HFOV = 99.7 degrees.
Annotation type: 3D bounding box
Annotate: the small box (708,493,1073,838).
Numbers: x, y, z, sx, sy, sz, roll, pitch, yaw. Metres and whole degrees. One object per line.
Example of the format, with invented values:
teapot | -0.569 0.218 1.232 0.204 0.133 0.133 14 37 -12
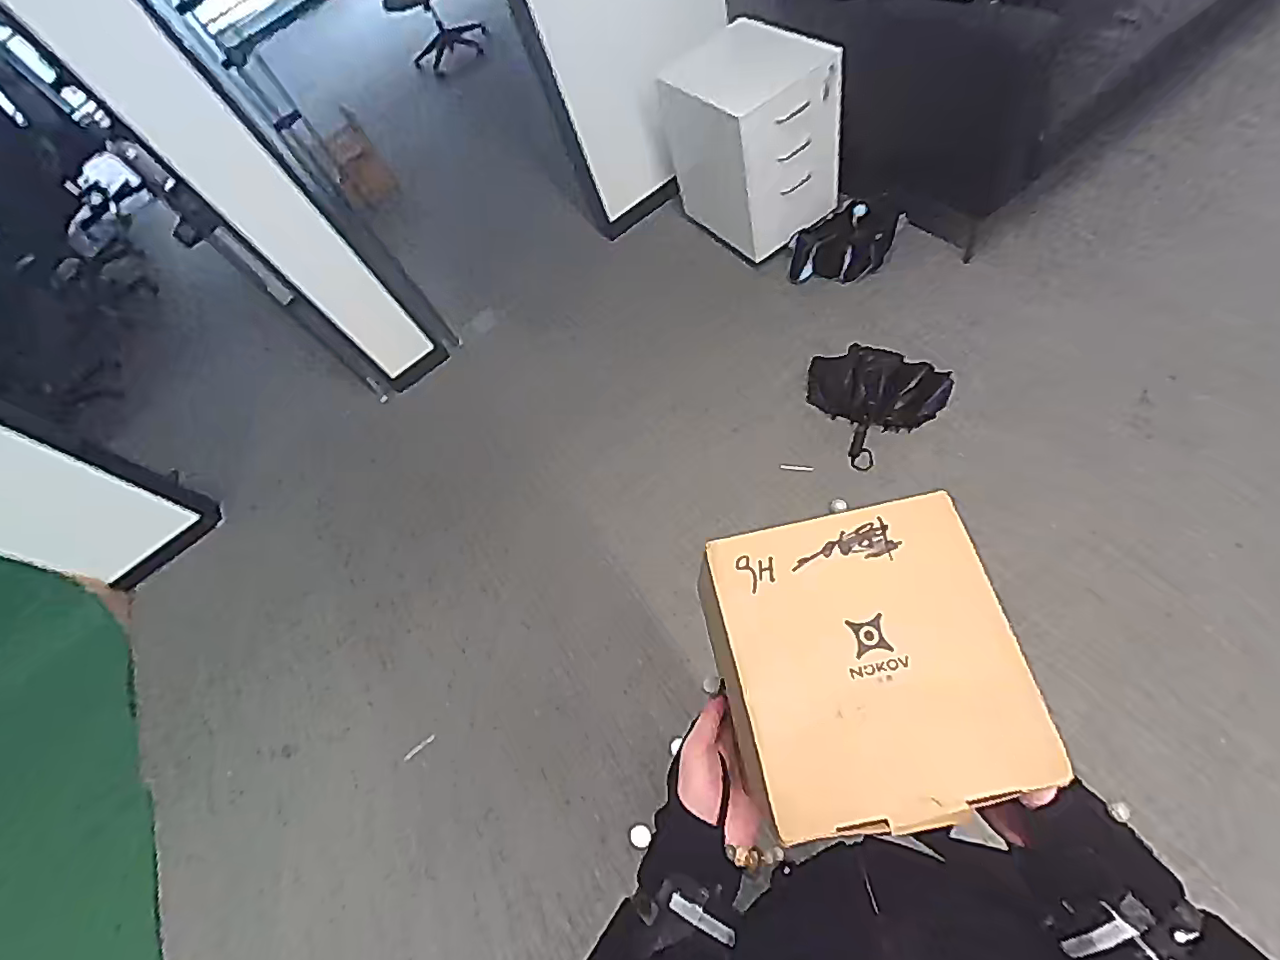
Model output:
small box | 0.151 0.129 0.401 0.168 0.176 0.179 -11 69 -1
